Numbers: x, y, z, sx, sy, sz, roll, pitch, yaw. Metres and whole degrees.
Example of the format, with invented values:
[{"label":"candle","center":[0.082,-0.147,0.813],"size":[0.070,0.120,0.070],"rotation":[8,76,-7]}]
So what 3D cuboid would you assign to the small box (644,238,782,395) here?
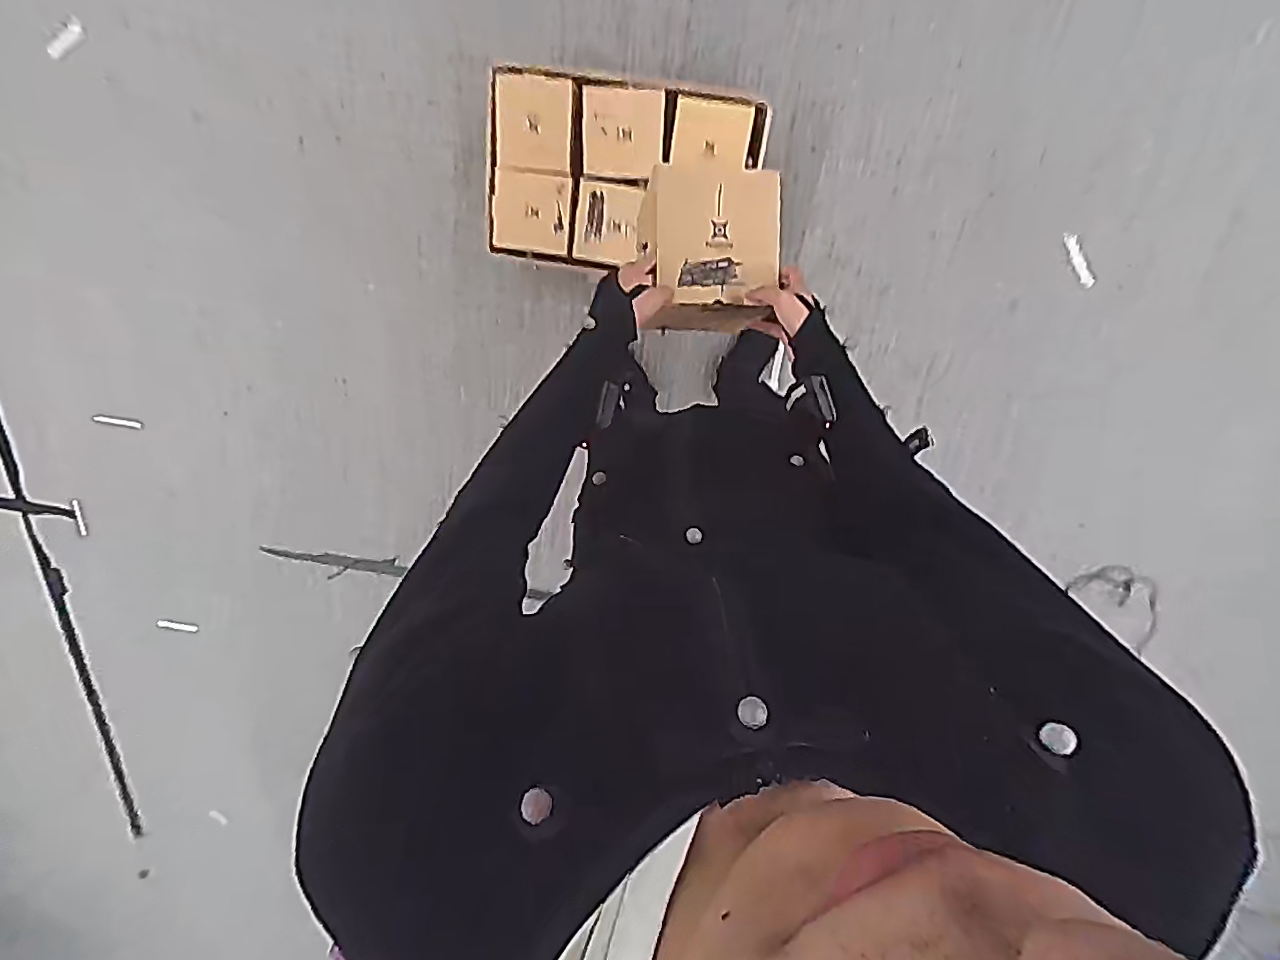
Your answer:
[{"label":"small box","center":[0.103,-0.233,0.818],"size":[0.168,0.176,0.179],"rotation":[3,85,-10]}]
